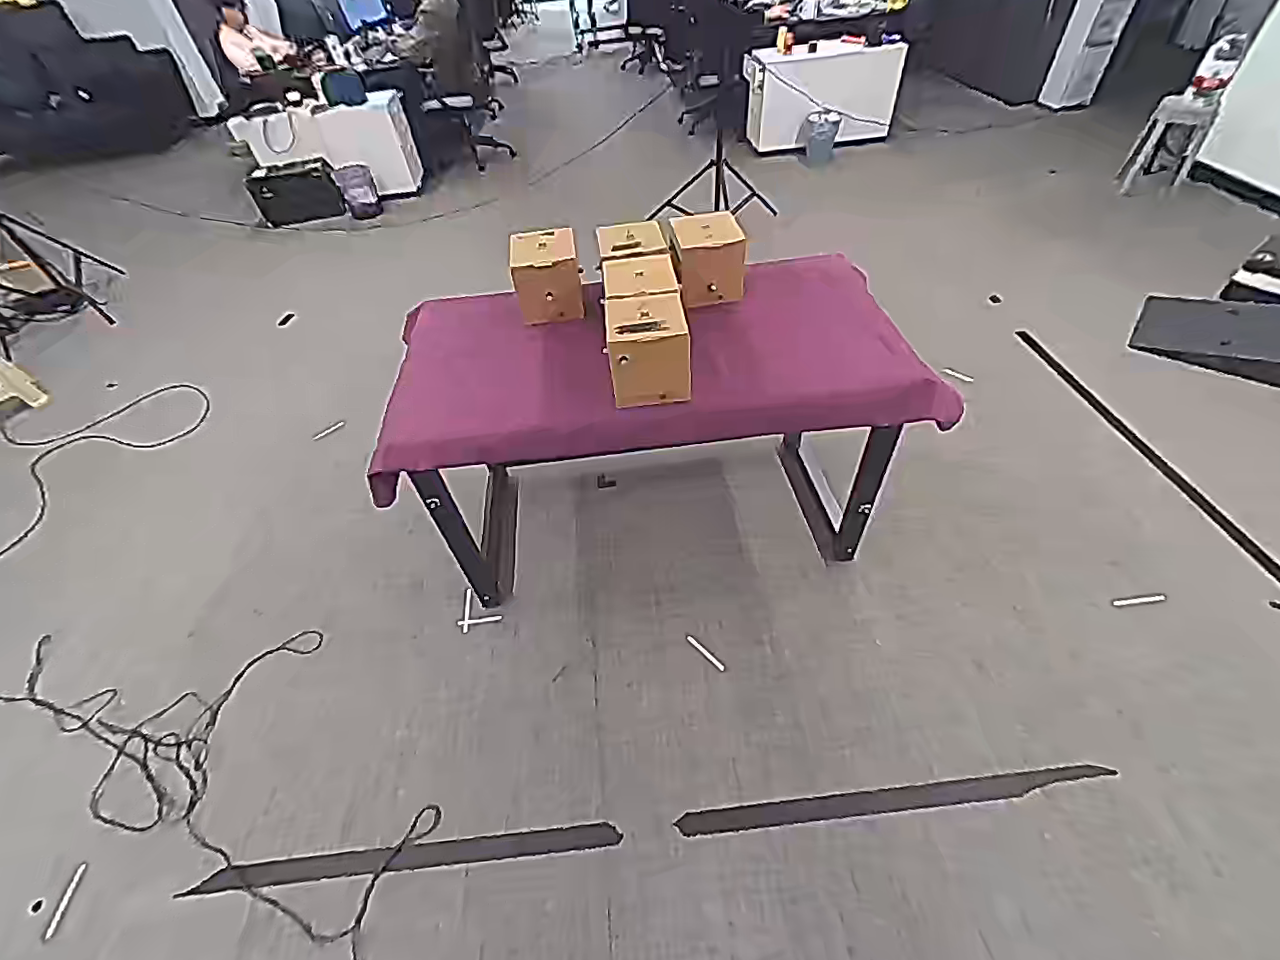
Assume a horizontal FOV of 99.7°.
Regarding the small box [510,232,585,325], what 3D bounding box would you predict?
[{"bbox_3d":[-0.242,-0.528,1.435,0.168,0.176,0.179,-8,50,-2],"label":"small box"}]
